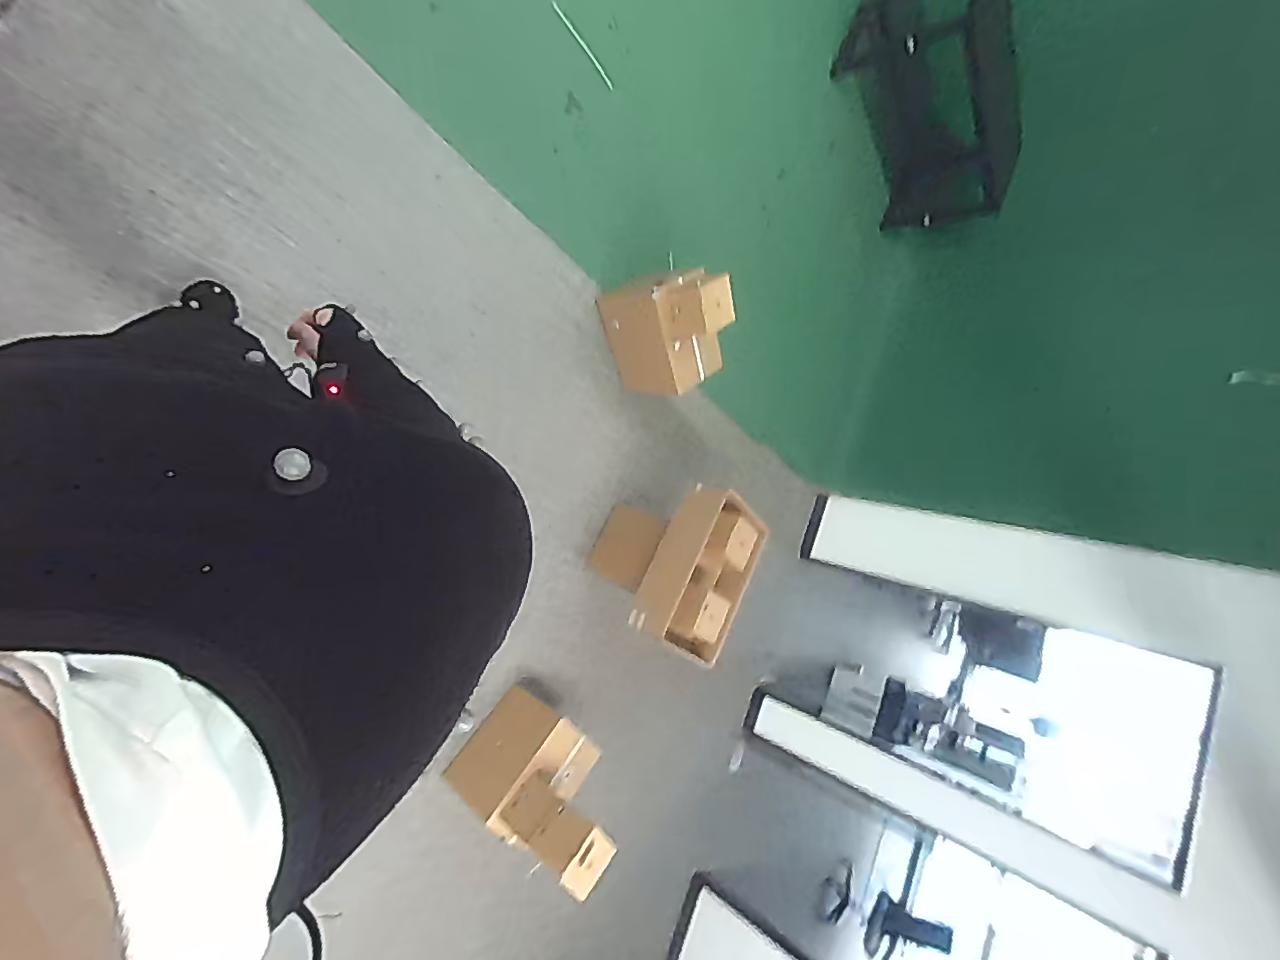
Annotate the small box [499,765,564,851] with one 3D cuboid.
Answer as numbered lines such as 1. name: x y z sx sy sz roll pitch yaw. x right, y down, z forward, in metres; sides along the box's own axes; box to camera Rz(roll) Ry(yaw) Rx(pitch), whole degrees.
1. small box: -0.336 1.099 1.813 0.168 0.176 0.179 -46 128 -31

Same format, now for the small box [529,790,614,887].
1. small box: -0.218 1.117 1.700 0.168 0.176 0.179 -46 129 -31

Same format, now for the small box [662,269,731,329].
1. small box: 0.205 -0.656 1.956 0.179 0.176 0.168 -37 126 -34

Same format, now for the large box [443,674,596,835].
1. large box: -0.448 1.027 2.040 0.408 0.320 0.320 -52 133 -27
